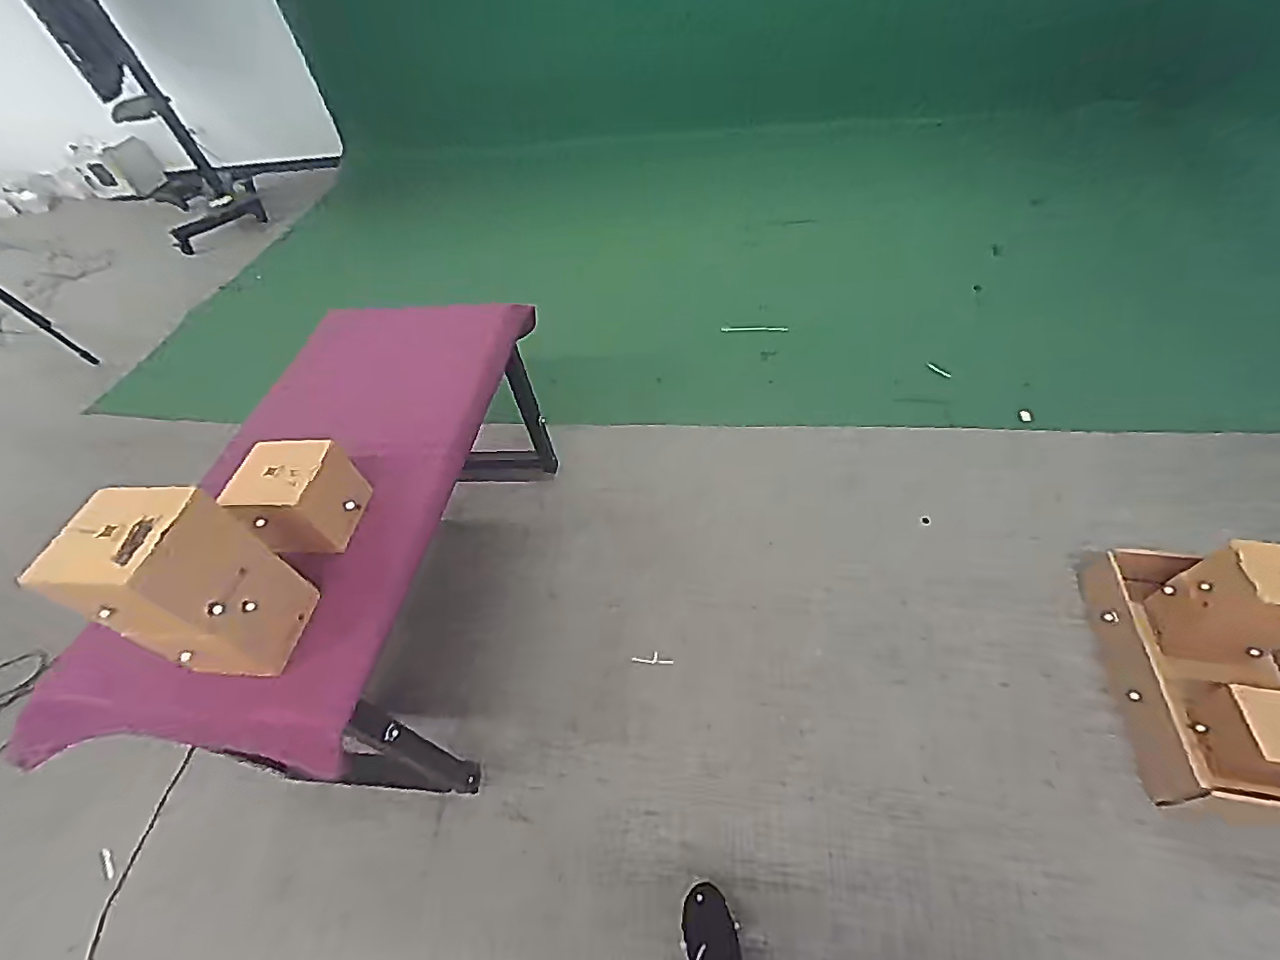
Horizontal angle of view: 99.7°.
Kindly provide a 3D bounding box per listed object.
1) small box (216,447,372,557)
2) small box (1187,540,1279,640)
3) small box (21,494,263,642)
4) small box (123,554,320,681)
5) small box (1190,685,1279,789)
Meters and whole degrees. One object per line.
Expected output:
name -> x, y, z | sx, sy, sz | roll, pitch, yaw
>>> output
small box -> -0.698, 0.048, 1.113 | 0.179, 0.176, 0.168 | -1, 51, 8
small box -> 1.469, 0.263, 1.269 | 0.179, 0.176, 0.168 | 5, 53, 12
small box -> -0.739, 0.137, 0.830 | 0.179, 0.176, 0.168 | -1, 50, 9
small box -> -0.720, 0.244, 0.955 | 0.179, 0.176, 0.168 | -1, 51, 9
small box -> 1.426, 0.585, 1.222 | 0.179, 0.176, 0.168 | 4, 50, 13
